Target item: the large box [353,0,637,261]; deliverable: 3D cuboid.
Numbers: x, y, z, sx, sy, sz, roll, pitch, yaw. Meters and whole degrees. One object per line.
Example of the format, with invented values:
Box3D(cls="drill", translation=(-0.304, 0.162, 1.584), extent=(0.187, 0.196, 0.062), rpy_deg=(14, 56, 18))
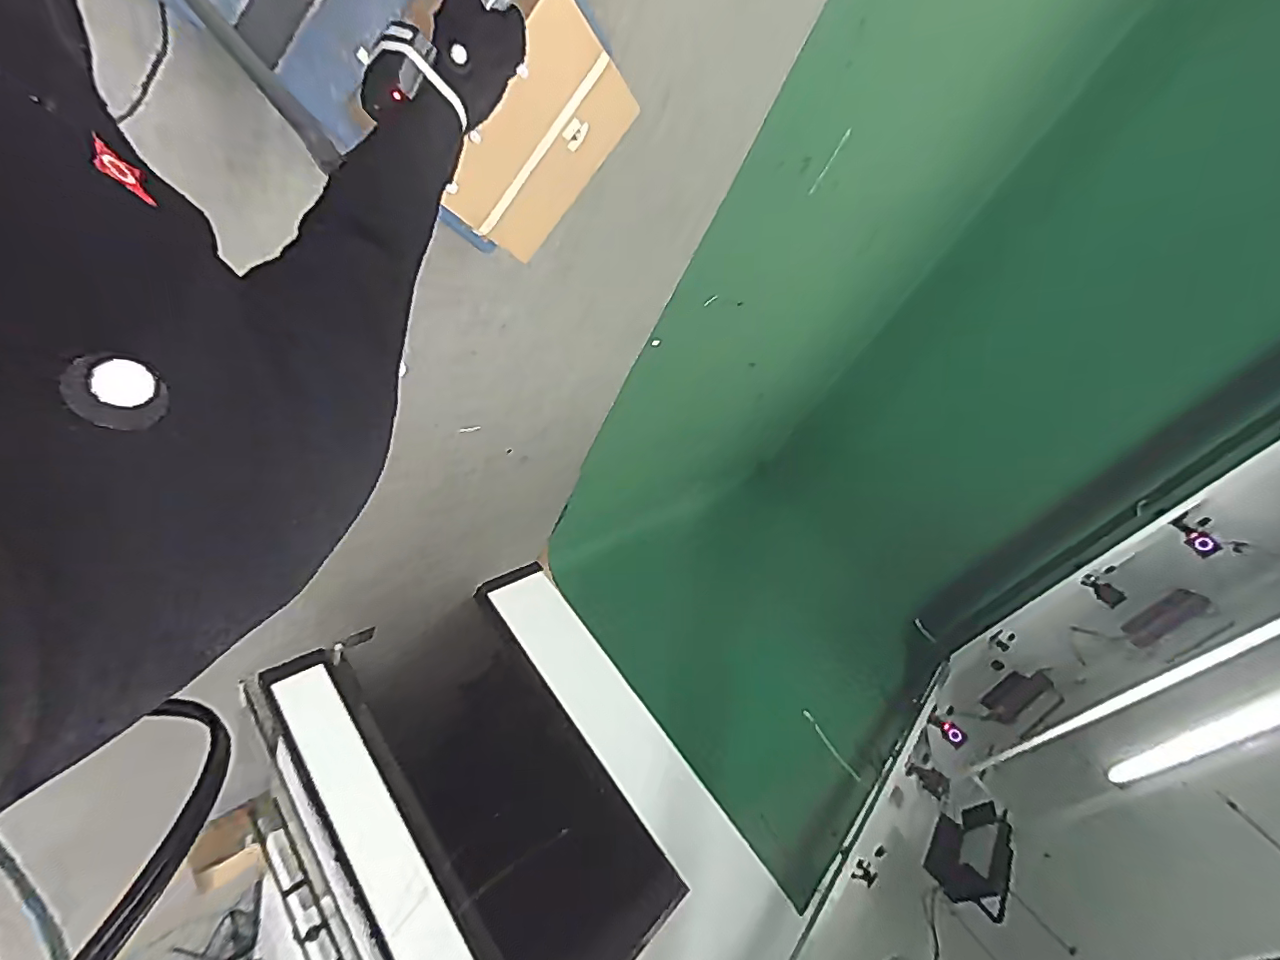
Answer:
Box3D(cls="large box", translation=(-0.290, -0.748, 1.095), extent=(0.408, 0.320, 0.320), rpy_deg=(-49, 158, 14))
